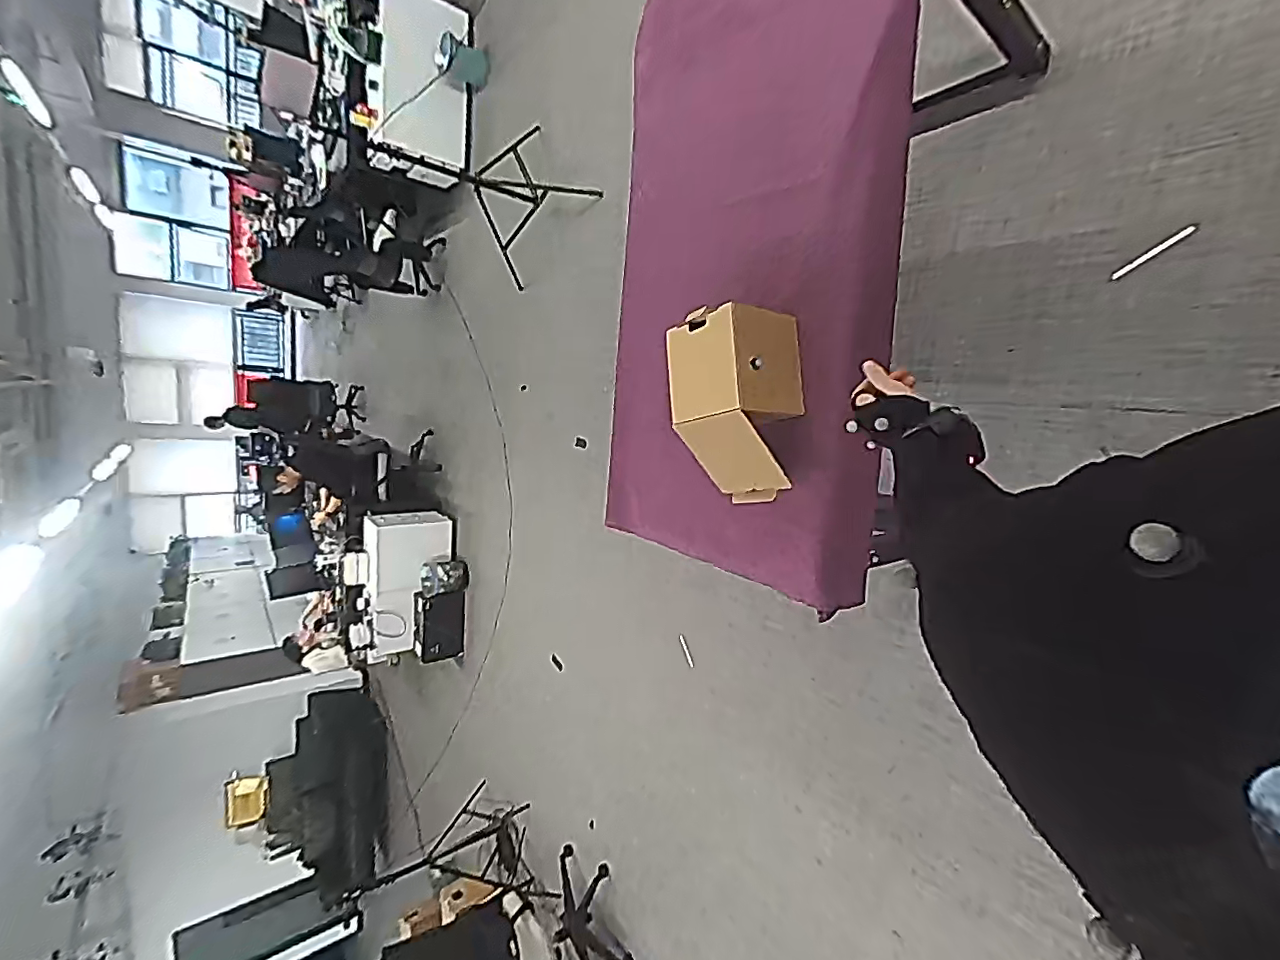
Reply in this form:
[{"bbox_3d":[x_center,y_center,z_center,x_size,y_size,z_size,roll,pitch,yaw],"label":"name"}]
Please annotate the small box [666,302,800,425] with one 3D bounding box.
[{"bbox_3d":[0.165,-0.193,0.955,0.168,0.176,0.179,-7,86,52],"label":"small box"}]
